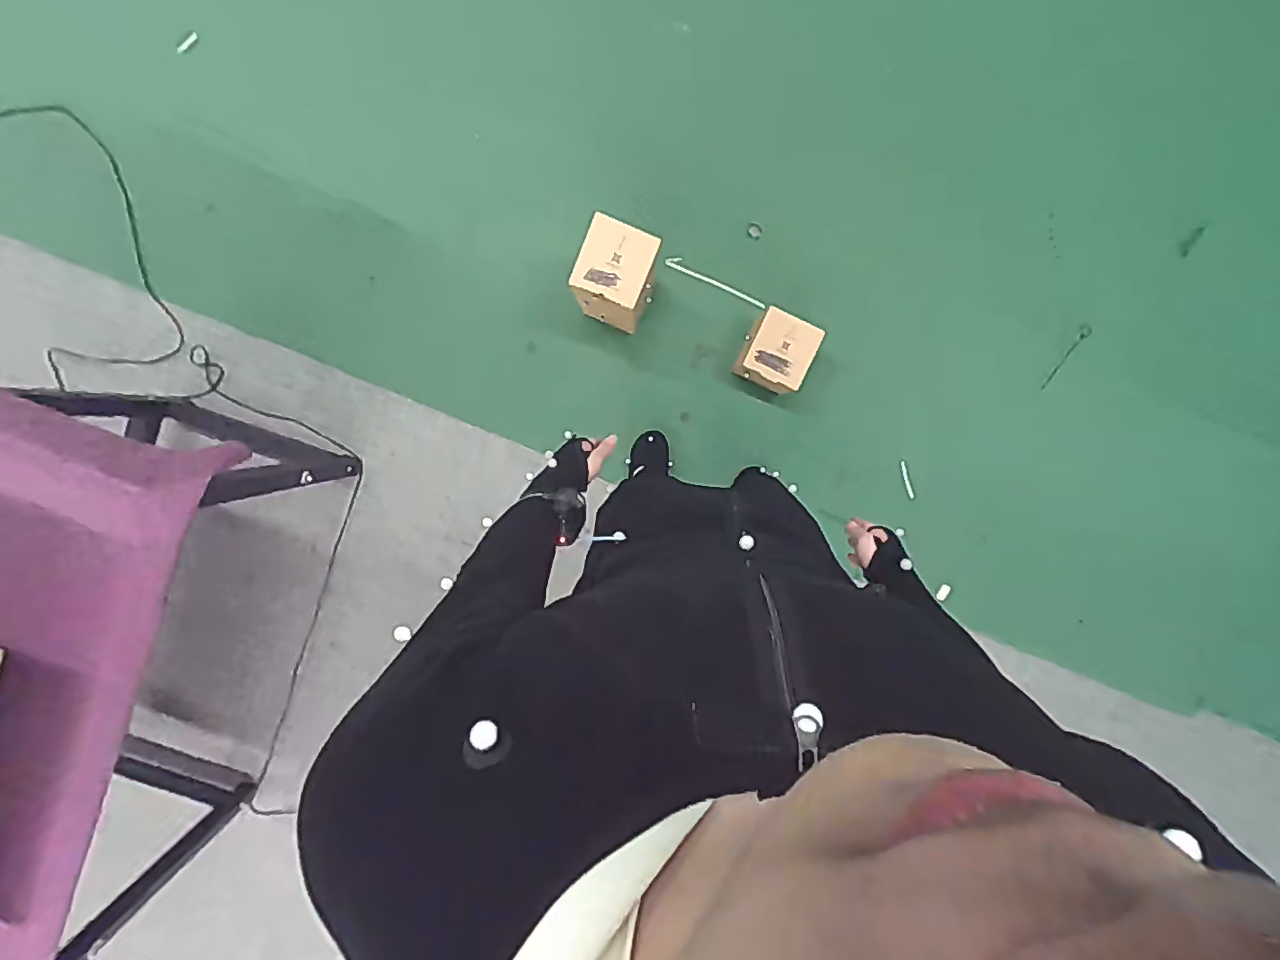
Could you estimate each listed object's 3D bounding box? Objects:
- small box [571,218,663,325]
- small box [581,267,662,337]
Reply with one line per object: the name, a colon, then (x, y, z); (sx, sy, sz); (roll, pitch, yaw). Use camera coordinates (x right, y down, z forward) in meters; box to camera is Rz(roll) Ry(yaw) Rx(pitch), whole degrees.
small box: (-0.052, -0.500, 1.328); (0.168, 0.176, 0.179); (23, 95, -2)
small box: (-0.051, -0.515, 1.491); (0.168, 0.176, 0.179); (23, 96, -2)
